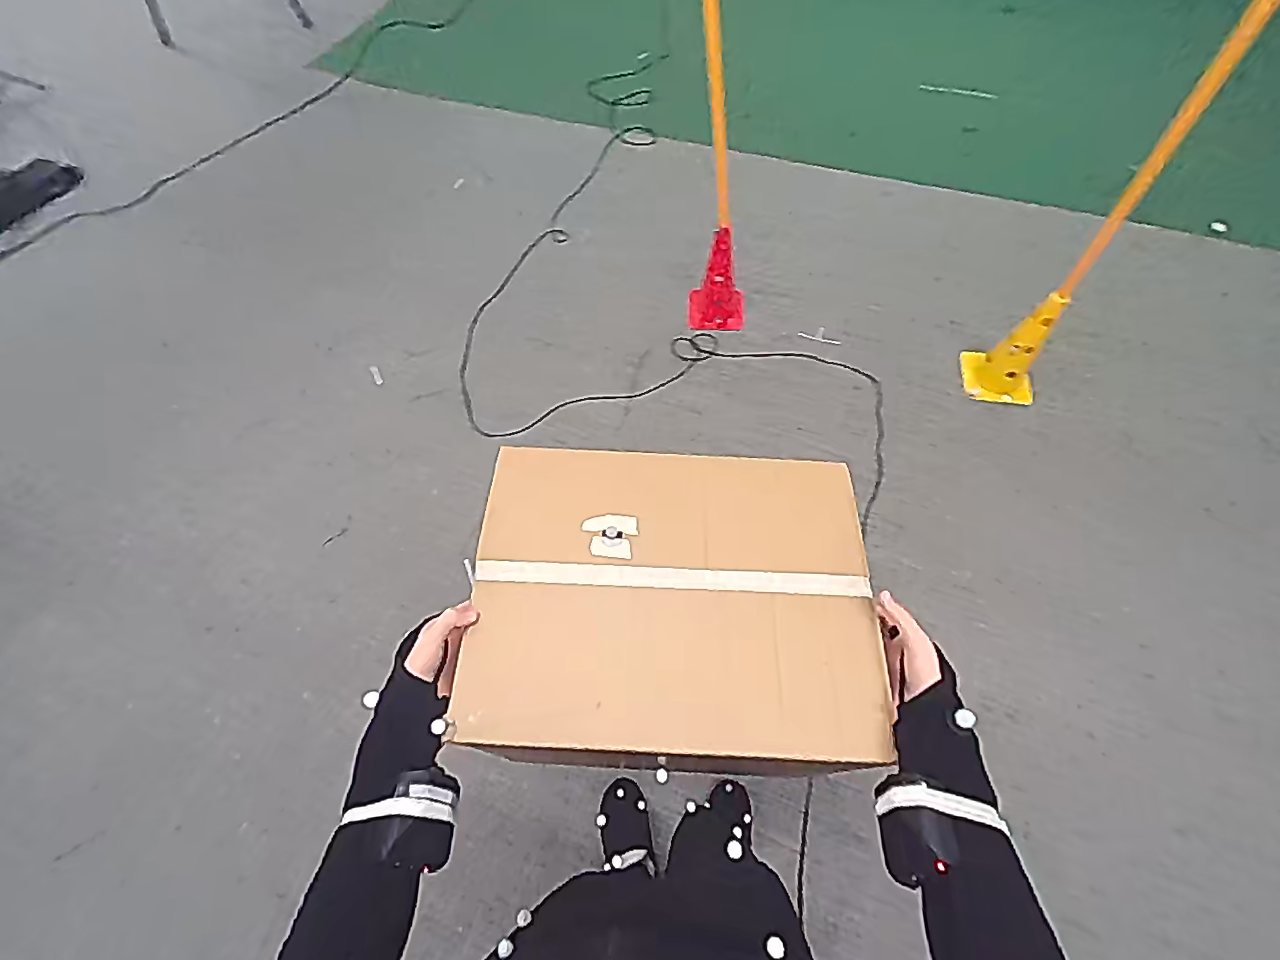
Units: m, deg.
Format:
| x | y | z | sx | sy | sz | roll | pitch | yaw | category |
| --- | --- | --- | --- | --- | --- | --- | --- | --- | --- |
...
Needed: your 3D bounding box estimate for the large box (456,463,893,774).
| x | y | z | sx | sy | sz | roll | pitch | yaw | category |
| --- | --- | --- | --- | --- | --- | --- | --- | --- | --- |
| 0.037 | 0.192 | 0.689 | 0.408 | 0.320 | 0.320 | 2 | 58 | 1 | large box |
